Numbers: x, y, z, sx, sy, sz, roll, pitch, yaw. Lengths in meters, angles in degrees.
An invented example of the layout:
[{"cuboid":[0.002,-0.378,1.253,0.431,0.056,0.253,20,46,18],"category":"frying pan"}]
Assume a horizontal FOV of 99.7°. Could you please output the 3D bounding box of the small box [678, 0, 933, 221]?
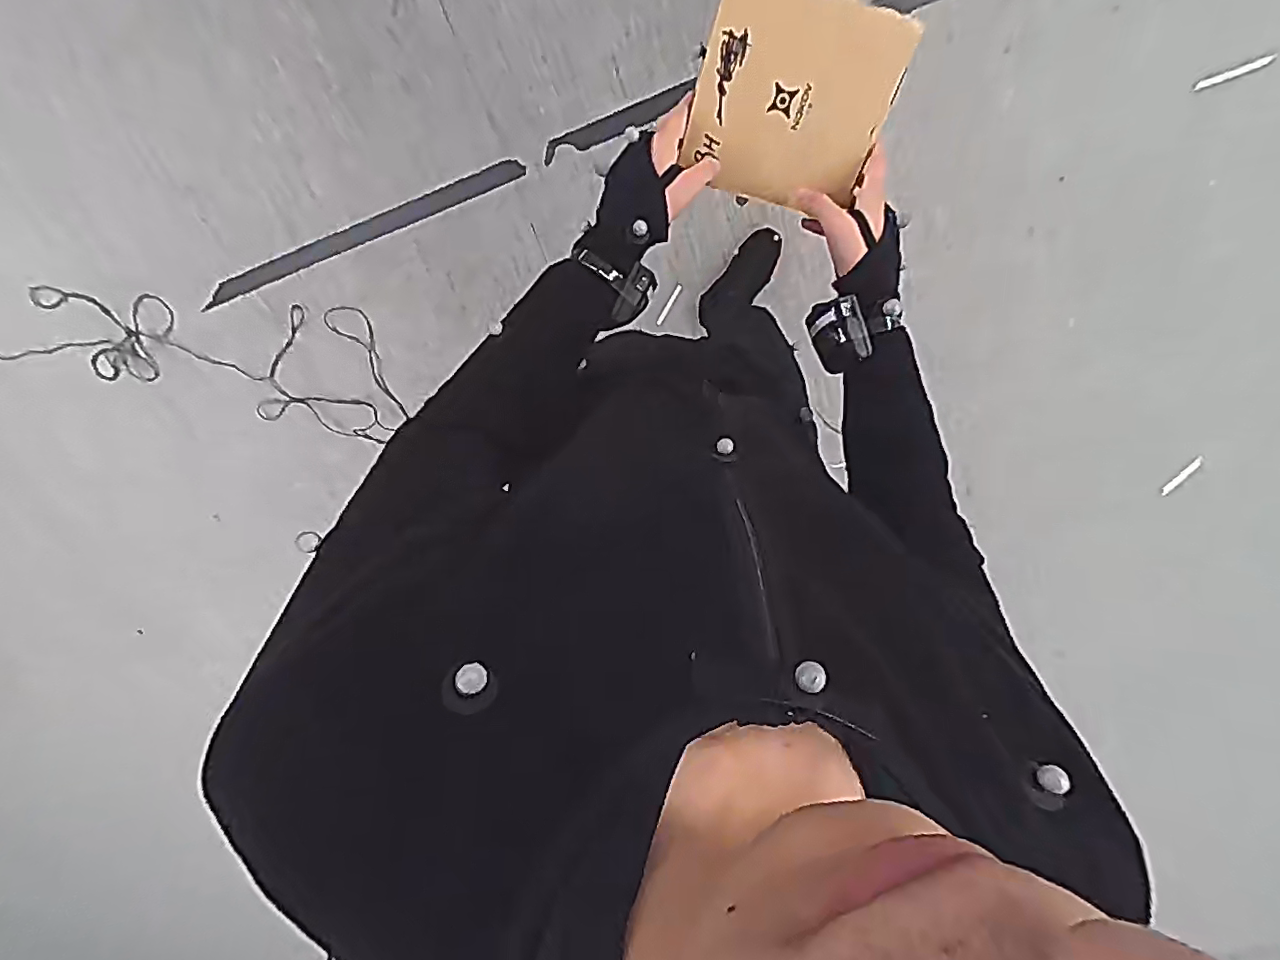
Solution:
[{"cuboid":[0.145,-0.387,0.549,0.179,0.176,0.168,15,124,-6],"category":"small box"}]
